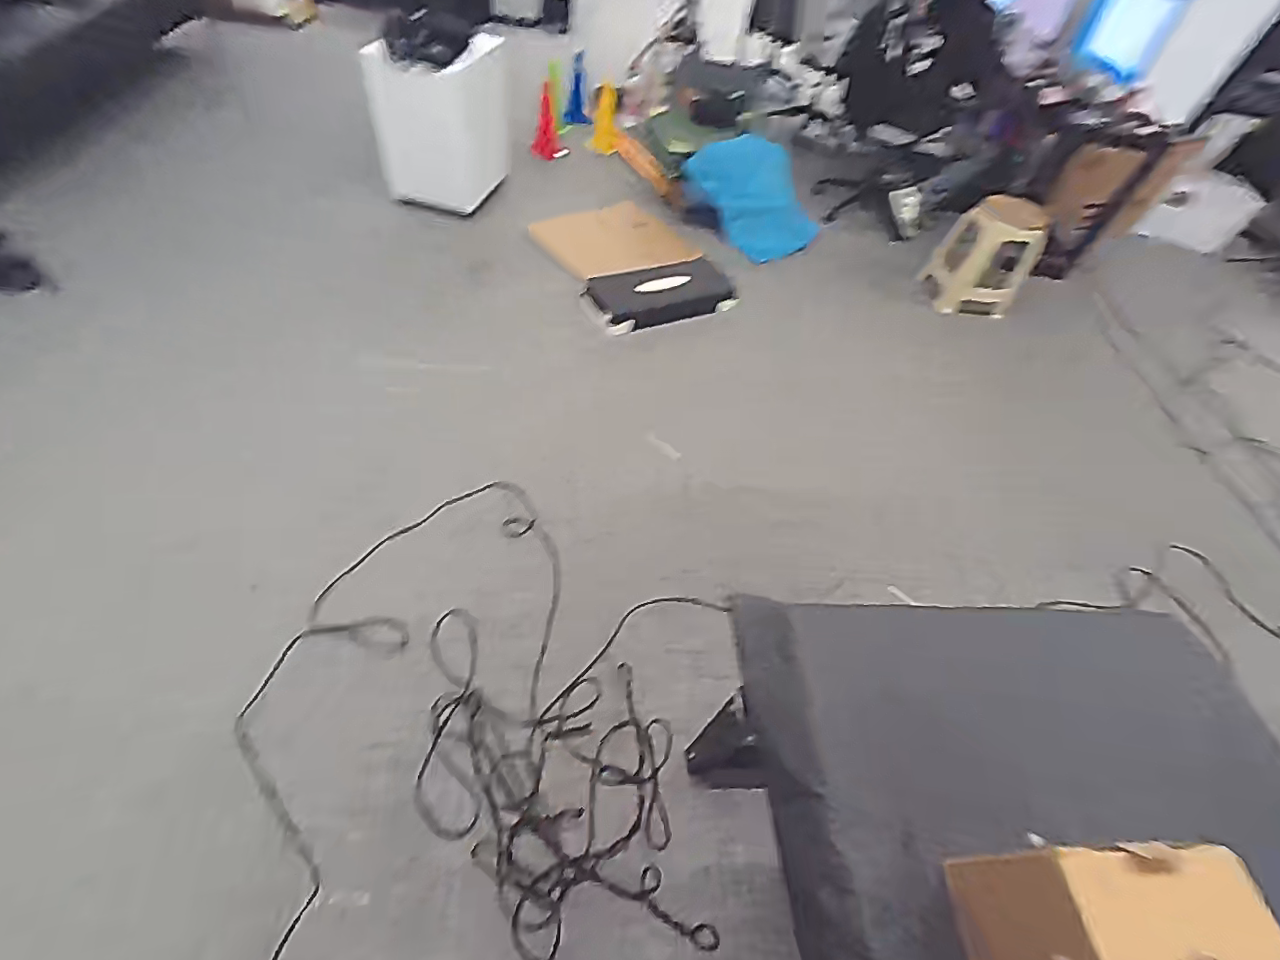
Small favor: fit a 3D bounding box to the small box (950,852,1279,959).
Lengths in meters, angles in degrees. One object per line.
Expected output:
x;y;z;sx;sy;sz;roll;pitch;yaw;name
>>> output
0.399;0.422;0.448;0.168;0.176;0.179;4;52;-7;small box
